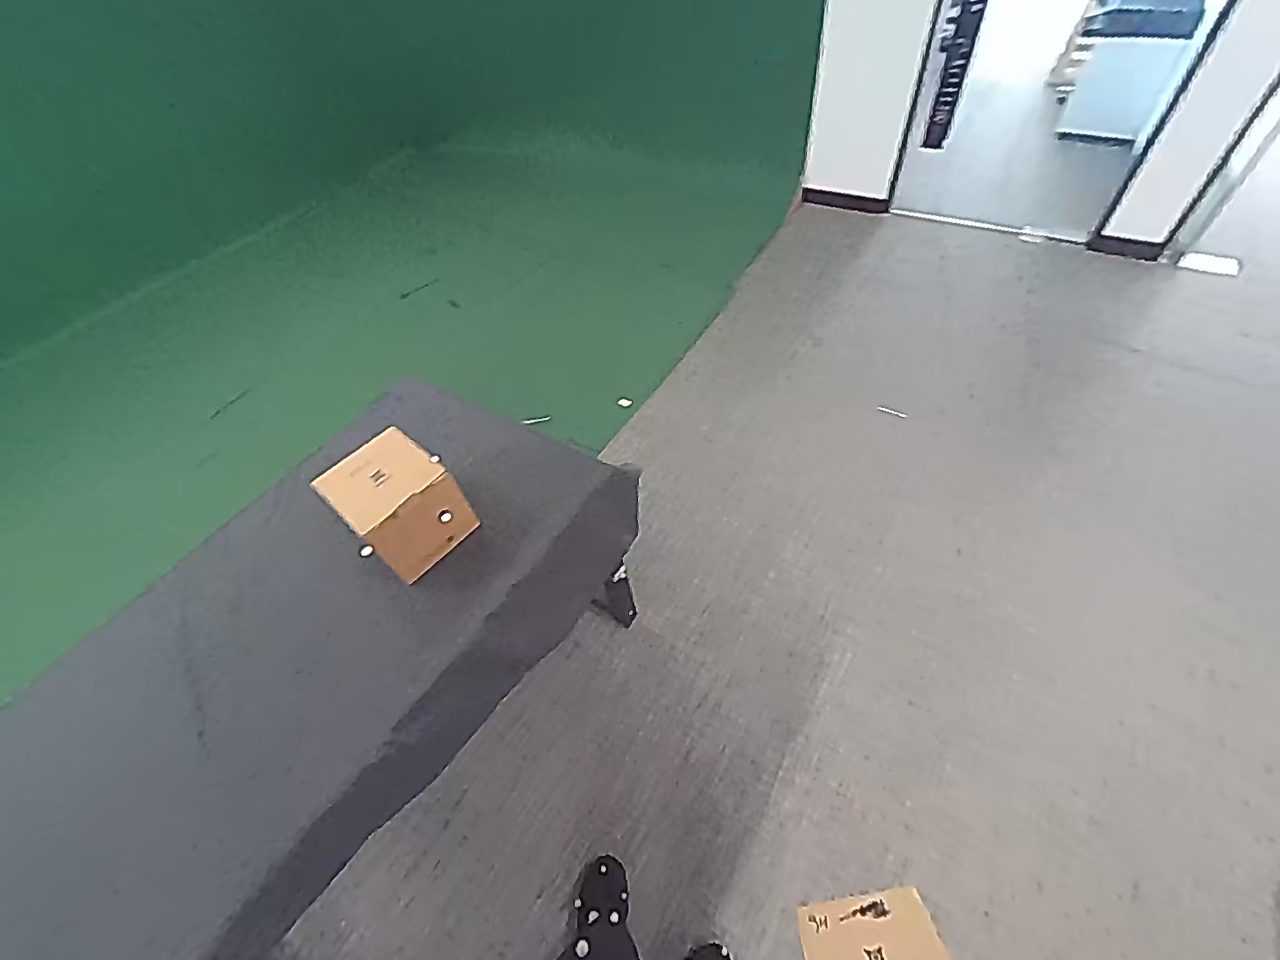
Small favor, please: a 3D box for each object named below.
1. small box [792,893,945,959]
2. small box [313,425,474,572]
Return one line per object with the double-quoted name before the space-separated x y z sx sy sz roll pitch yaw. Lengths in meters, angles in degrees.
"small box" 0.293 0.647 0.638 0.168 0.176 0.179 -13 9 6
"small box" -0.428 0.039 0.966 0.179 0.176 0.168 32 60 28
